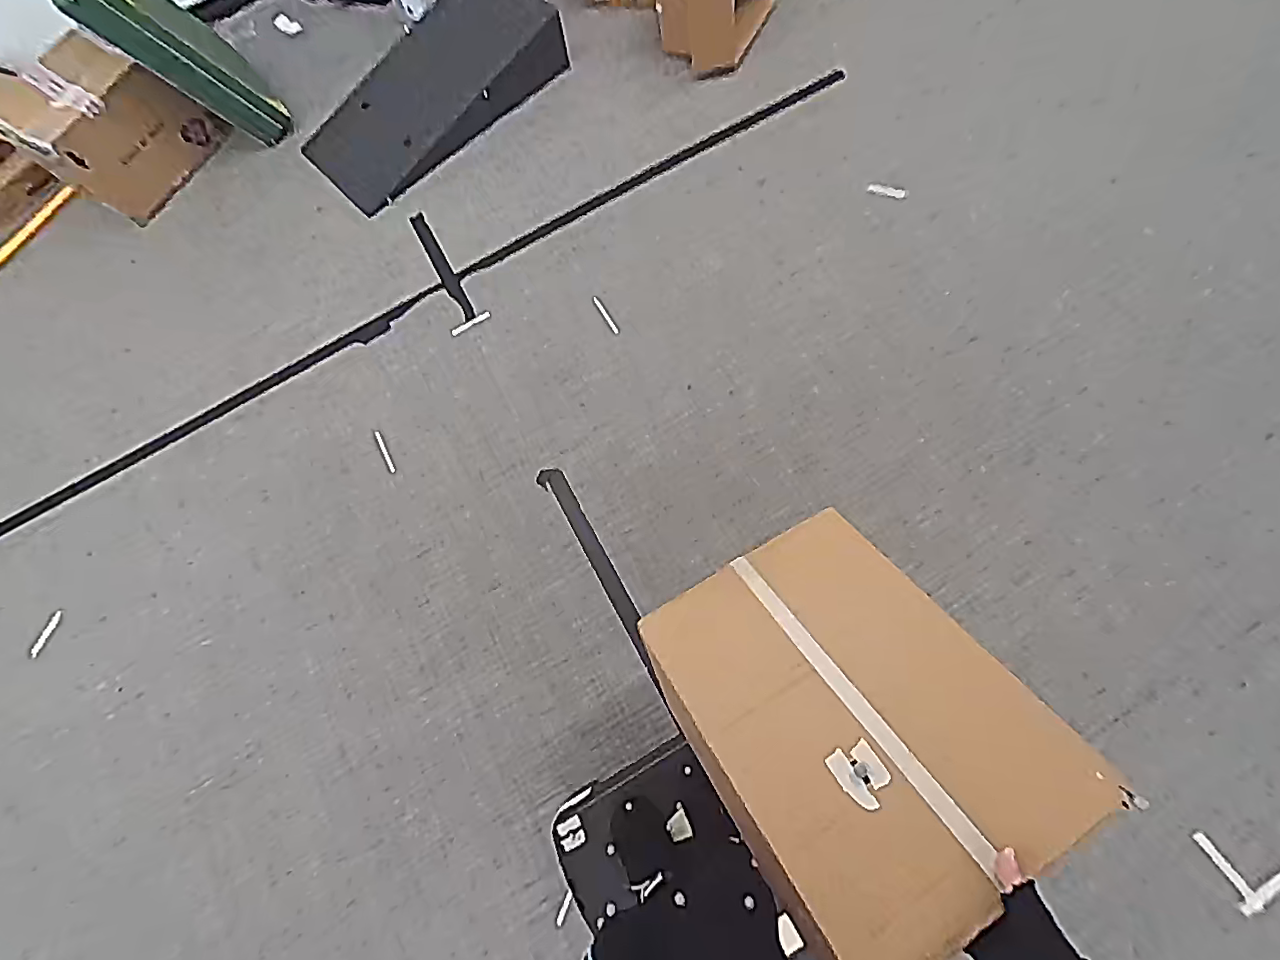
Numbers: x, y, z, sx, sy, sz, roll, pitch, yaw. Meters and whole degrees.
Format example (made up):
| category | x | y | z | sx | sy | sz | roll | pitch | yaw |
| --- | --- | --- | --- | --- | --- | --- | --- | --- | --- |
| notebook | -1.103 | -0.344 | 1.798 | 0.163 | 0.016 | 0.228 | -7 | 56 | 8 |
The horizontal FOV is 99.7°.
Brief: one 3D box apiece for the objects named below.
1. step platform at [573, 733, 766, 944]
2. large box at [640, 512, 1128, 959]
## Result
| category | x | y | z | sx | sy | sz | roll | pitch | yaw |
| --- | --- | --- | --- | --- | --- | --- | --- | --- | --- |
| step platform | 0.194 | 0.678 | 1.205 | 0.684 | 0.204 | 0.286 | -31 | 71 | -5 |
| large box | 0.249 | 0.325 | 0.700 | 0.320 | 0.320 | 0.408 | -30 | 51 | -11 |
